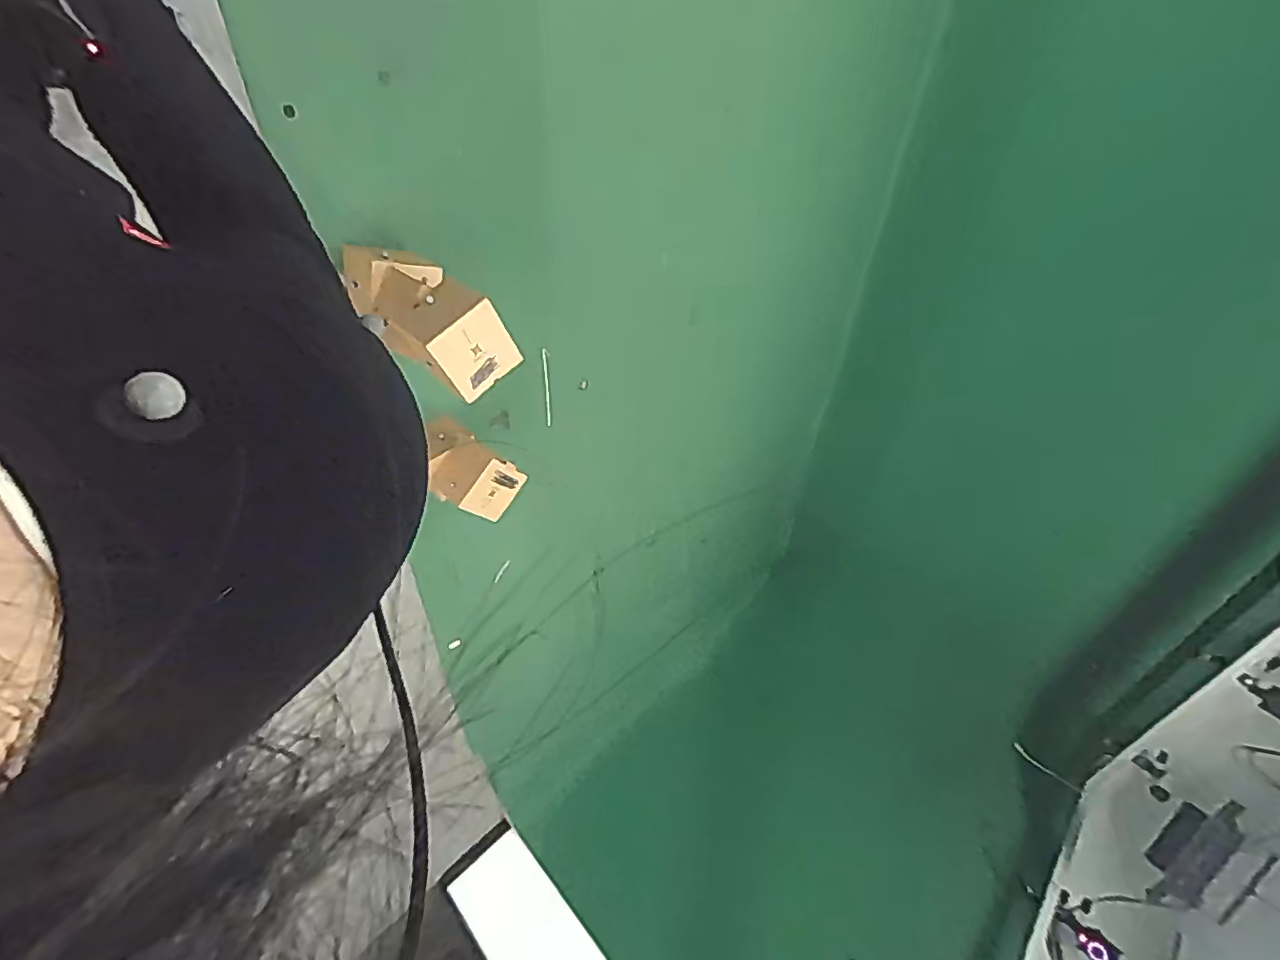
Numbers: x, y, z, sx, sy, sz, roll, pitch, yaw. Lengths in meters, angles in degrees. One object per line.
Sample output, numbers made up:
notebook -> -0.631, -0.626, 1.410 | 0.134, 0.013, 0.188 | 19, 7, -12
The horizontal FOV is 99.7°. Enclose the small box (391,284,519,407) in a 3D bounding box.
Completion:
small box -> -0.406, -0.300, 1.195 | 0.168, 0.176, 0.179 | -45, 144, -15

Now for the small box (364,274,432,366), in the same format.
small box -> -0.522, -0.369, 1.290 | 0.179, 0.176, 0.168 | 14, 108, -56

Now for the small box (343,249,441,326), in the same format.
small box -> -0.630, -0.471, 1.361 | 0.179, 0.176, 0.168 | -15, 130, -46

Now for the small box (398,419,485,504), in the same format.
small box -> -0.626, -0.065, 1.711 | 0.179, 0.176, 0.168 | -38, 143, -28
